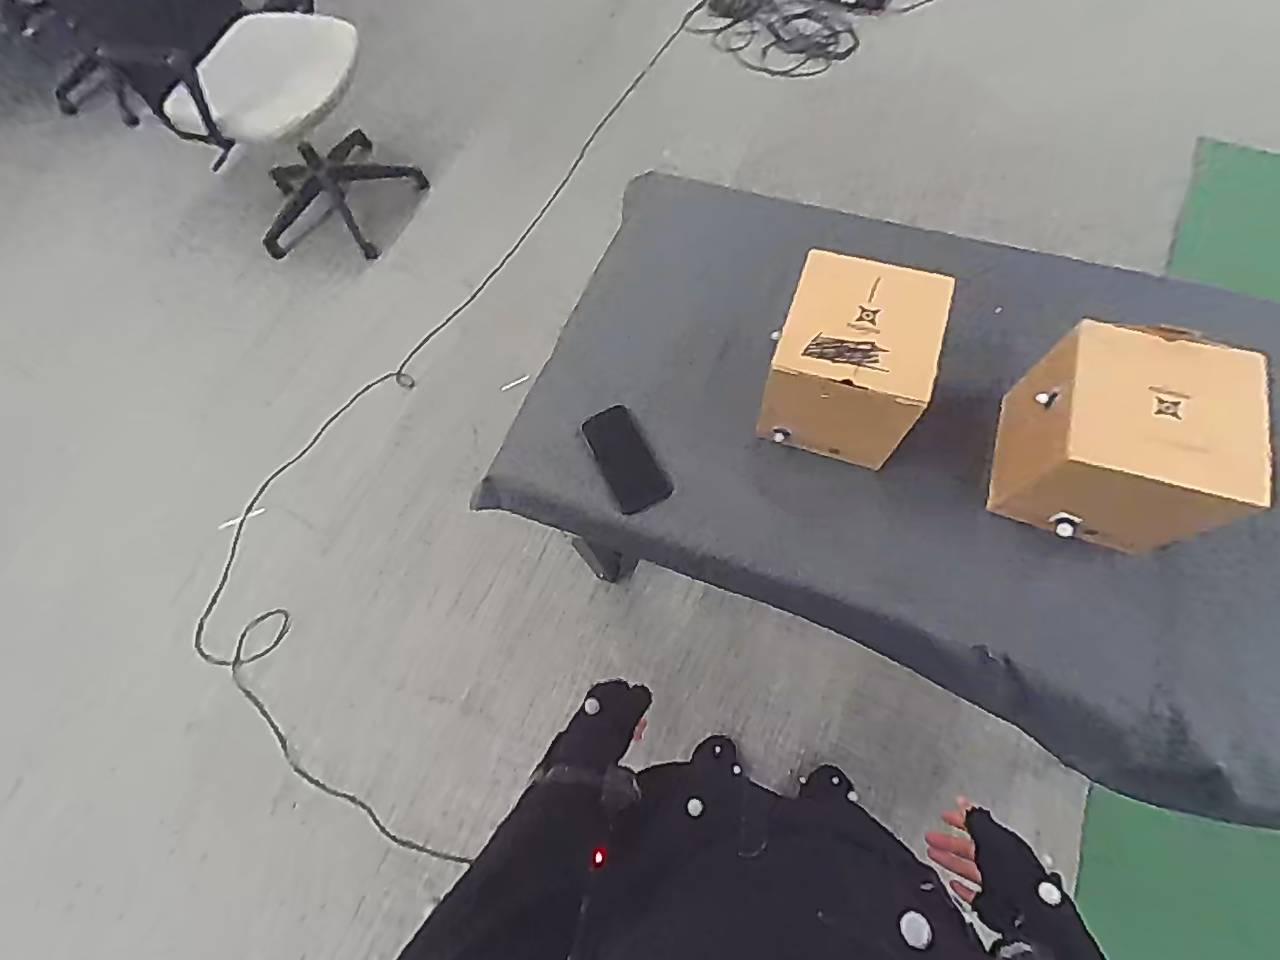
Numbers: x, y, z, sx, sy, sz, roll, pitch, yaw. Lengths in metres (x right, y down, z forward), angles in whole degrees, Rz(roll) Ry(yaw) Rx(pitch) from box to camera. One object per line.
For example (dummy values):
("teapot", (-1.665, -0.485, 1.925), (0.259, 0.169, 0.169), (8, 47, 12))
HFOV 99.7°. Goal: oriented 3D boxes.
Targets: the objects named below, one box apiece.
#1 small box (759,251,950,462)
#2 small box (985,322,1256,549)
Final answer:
("small box", (0.254, -0.145, 0.677), (0.168, 0.176, 0.179), (18, 70, 12))
("small box", (0.523, -0.042, 0.613), (0.168, 0.176, 0.179), (17, 71, 13))
